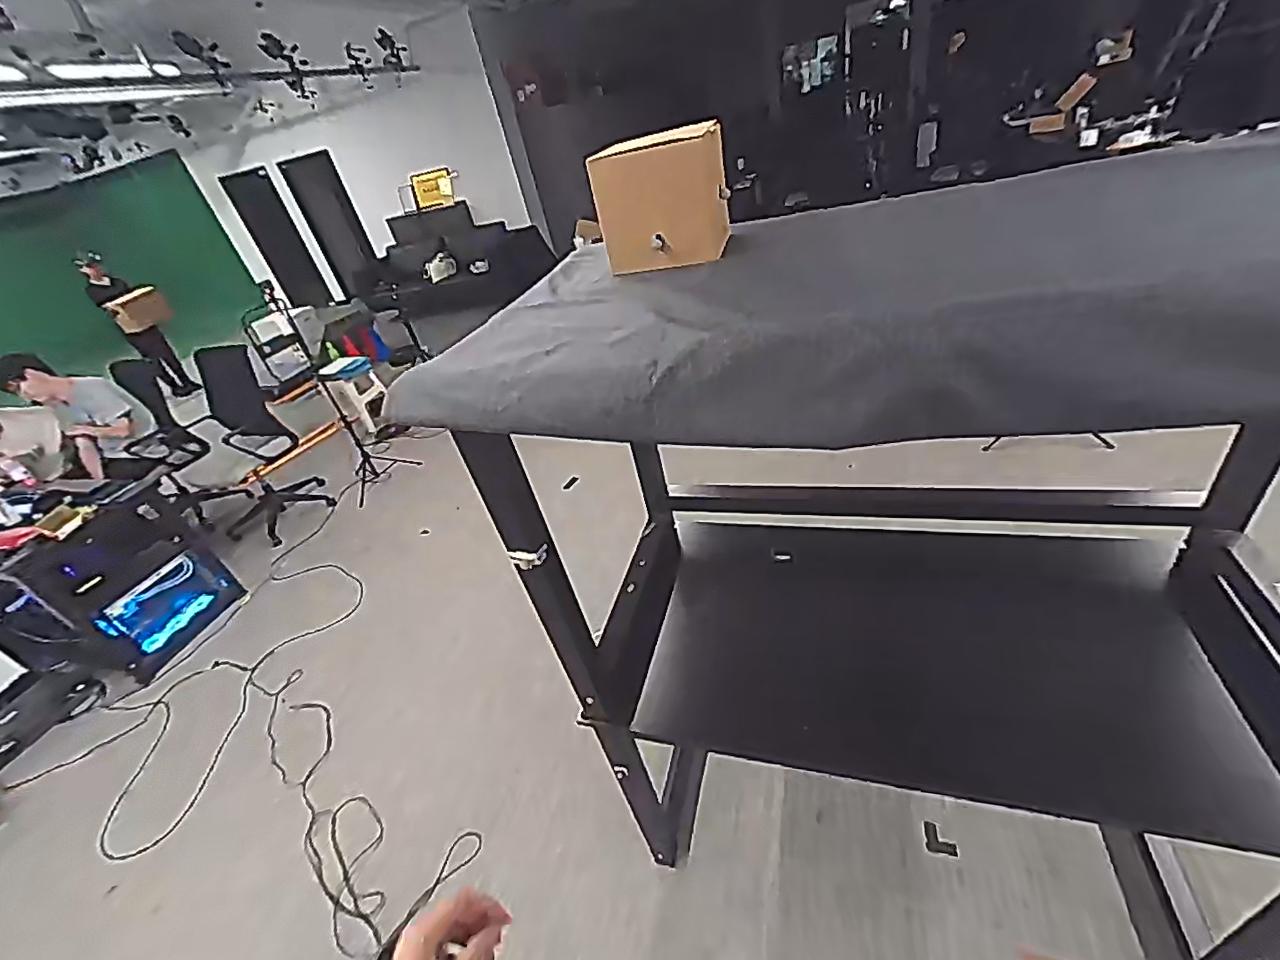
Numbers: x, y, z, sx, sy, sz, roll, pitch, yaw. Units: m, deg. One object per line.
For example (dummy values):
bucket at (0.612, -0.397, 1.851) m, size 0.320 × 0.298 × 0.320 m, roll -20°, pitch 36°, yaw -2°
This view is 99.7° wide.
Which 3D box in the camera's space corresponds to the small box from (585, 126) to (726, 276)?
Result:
small box at (0.037, -0.437, 0.854) m, size 0.179 × 0.176 × 0.168 m, roll 0°, pitch 37°, yaw 18°
